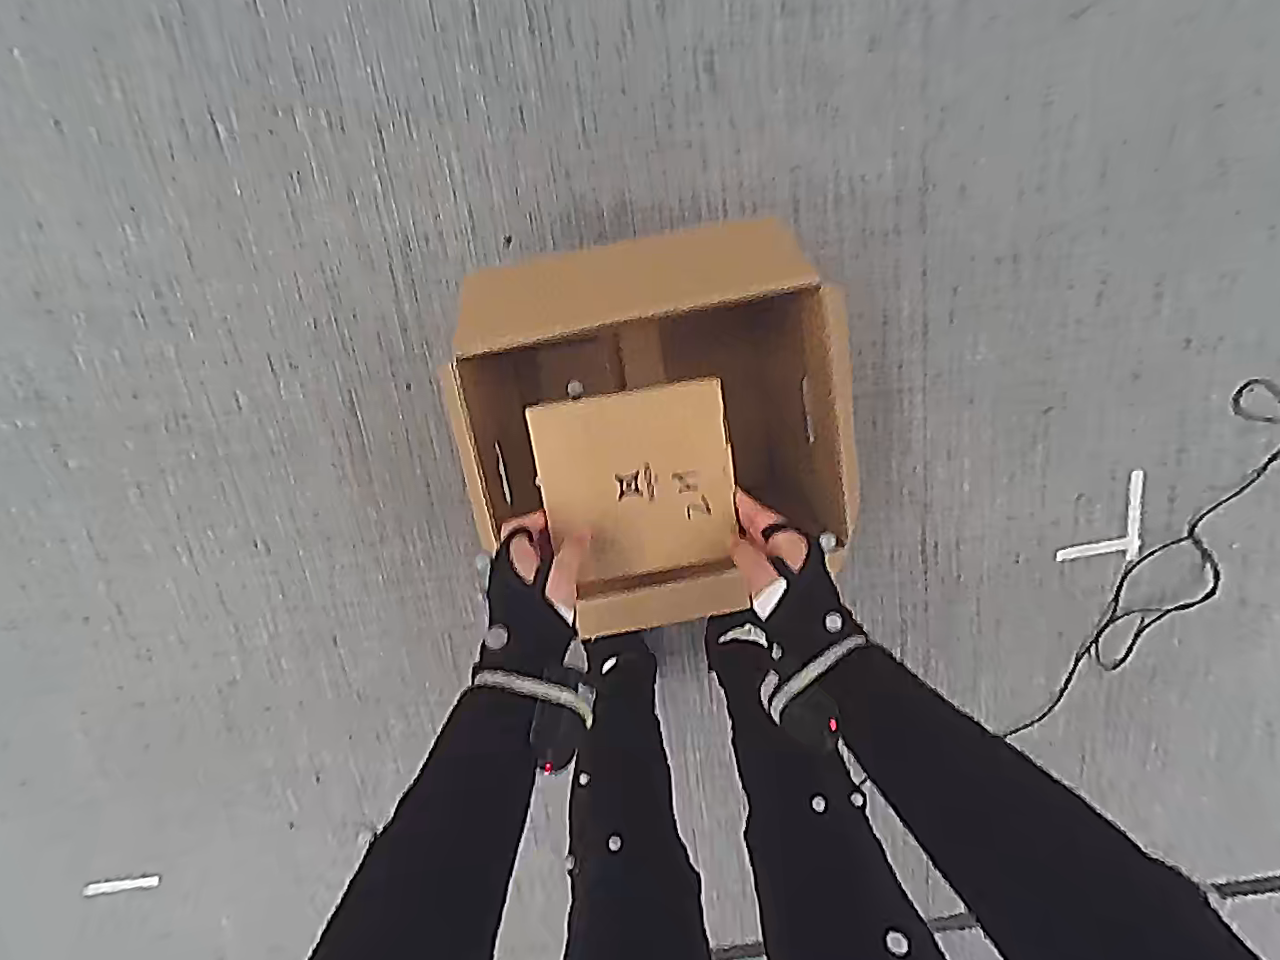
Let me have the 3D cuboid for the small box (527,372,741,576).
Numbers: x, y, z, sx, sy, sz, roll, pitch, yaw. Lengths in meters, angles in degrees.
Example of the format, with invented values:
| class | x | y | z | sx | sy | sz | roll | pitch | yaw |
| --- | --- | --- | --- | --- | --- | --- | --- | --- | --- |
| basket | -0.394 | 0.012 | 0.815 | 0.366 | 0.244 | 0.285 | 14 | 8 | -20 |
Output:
| class | x | y | z | sx | sy | sz | roll | pitch | yaw |
| --- | --- | --- | --- | --- | --- | --- | --- | --- | --- |
| small box | -0.007 | -0.016 | 0.564 | 0.179 | 0.176 | 0.168 | -10 | 101 | -3 |
